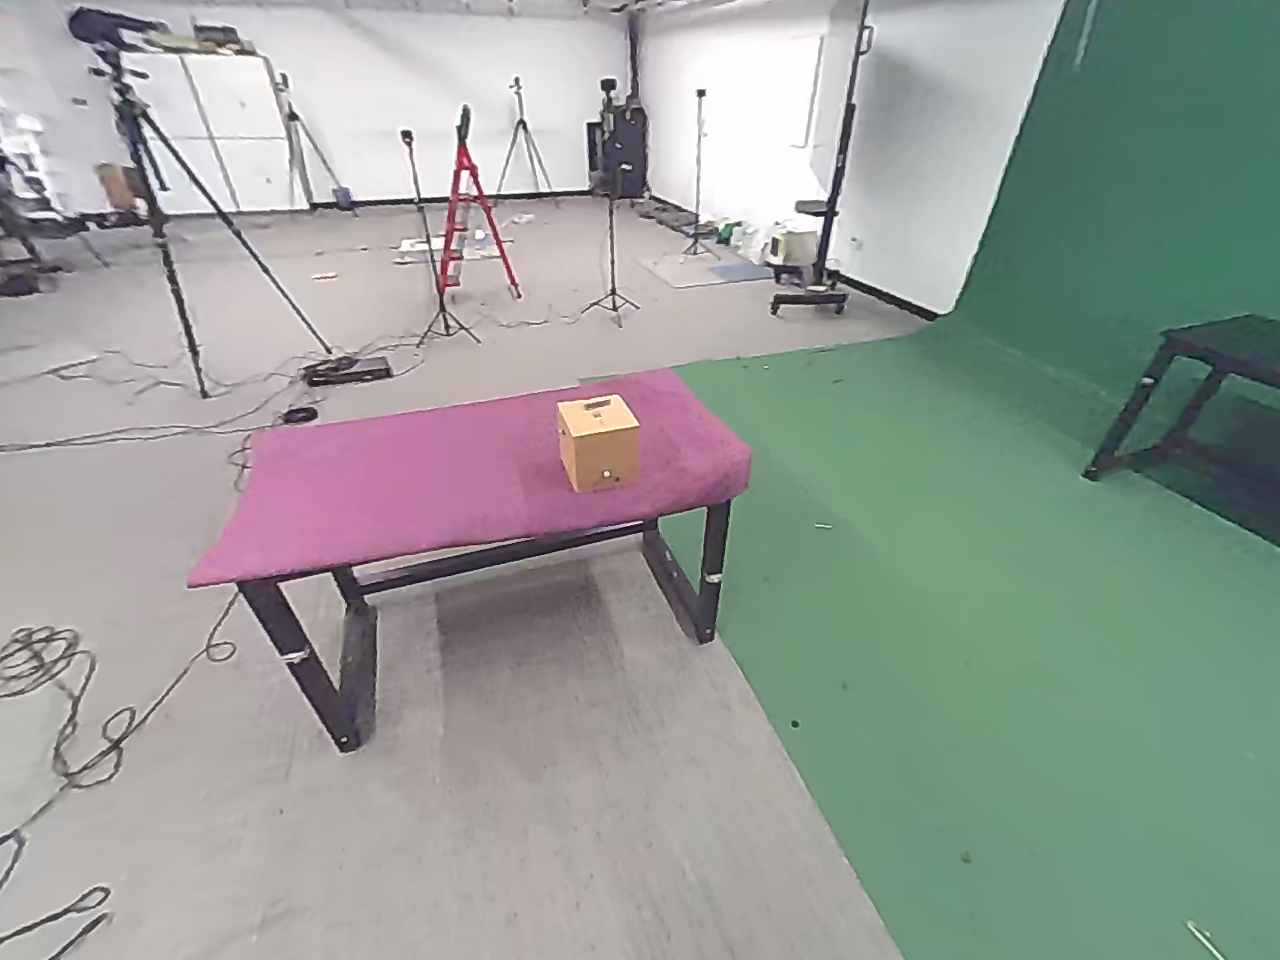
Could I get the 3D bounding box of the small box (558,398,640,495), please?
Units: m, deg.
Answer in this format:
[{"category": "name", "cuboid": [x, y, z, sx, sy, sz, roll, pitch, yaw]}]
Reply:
[{"category": "small box", "cuboid": [-0.107, -0.087, 1.364, 0.168, 0.176, 0.179, -11, 37, -16]}]
